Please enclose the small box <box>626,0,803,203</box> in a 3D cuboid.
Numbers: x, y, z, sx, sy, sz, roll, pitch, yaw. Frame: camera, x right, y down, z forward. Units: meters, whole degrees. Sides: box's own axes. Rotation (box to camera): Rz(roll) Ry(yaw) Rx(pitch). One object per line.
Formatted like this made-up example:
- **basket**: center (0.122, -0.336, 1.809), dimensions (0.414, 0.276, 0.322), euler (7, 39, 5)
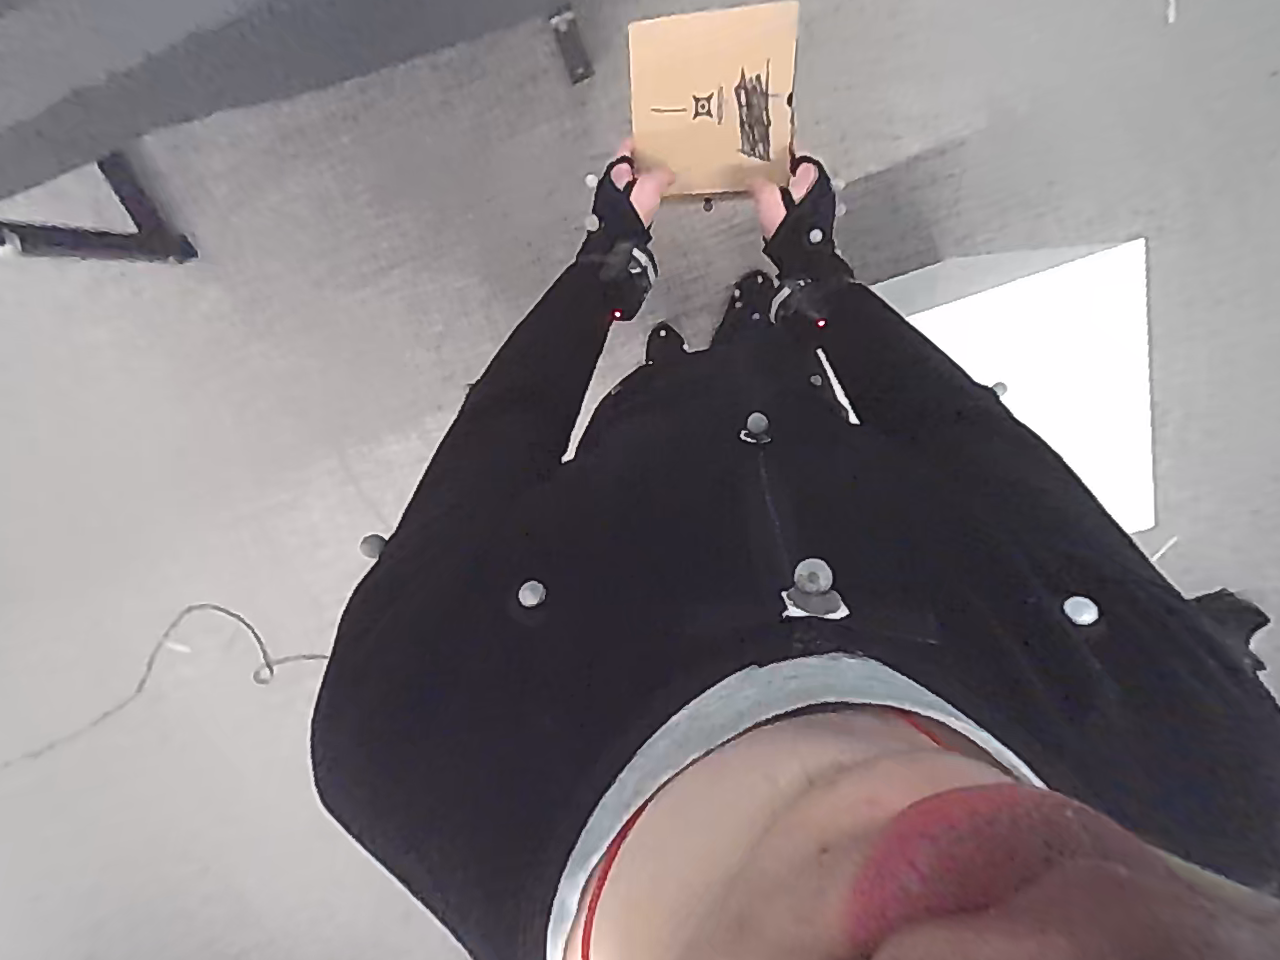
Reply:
- **small box**: center (0.087, -0.424, 0.634), dimensions (0.179, 0.176, 0.168), euler (2, 113, 11)
